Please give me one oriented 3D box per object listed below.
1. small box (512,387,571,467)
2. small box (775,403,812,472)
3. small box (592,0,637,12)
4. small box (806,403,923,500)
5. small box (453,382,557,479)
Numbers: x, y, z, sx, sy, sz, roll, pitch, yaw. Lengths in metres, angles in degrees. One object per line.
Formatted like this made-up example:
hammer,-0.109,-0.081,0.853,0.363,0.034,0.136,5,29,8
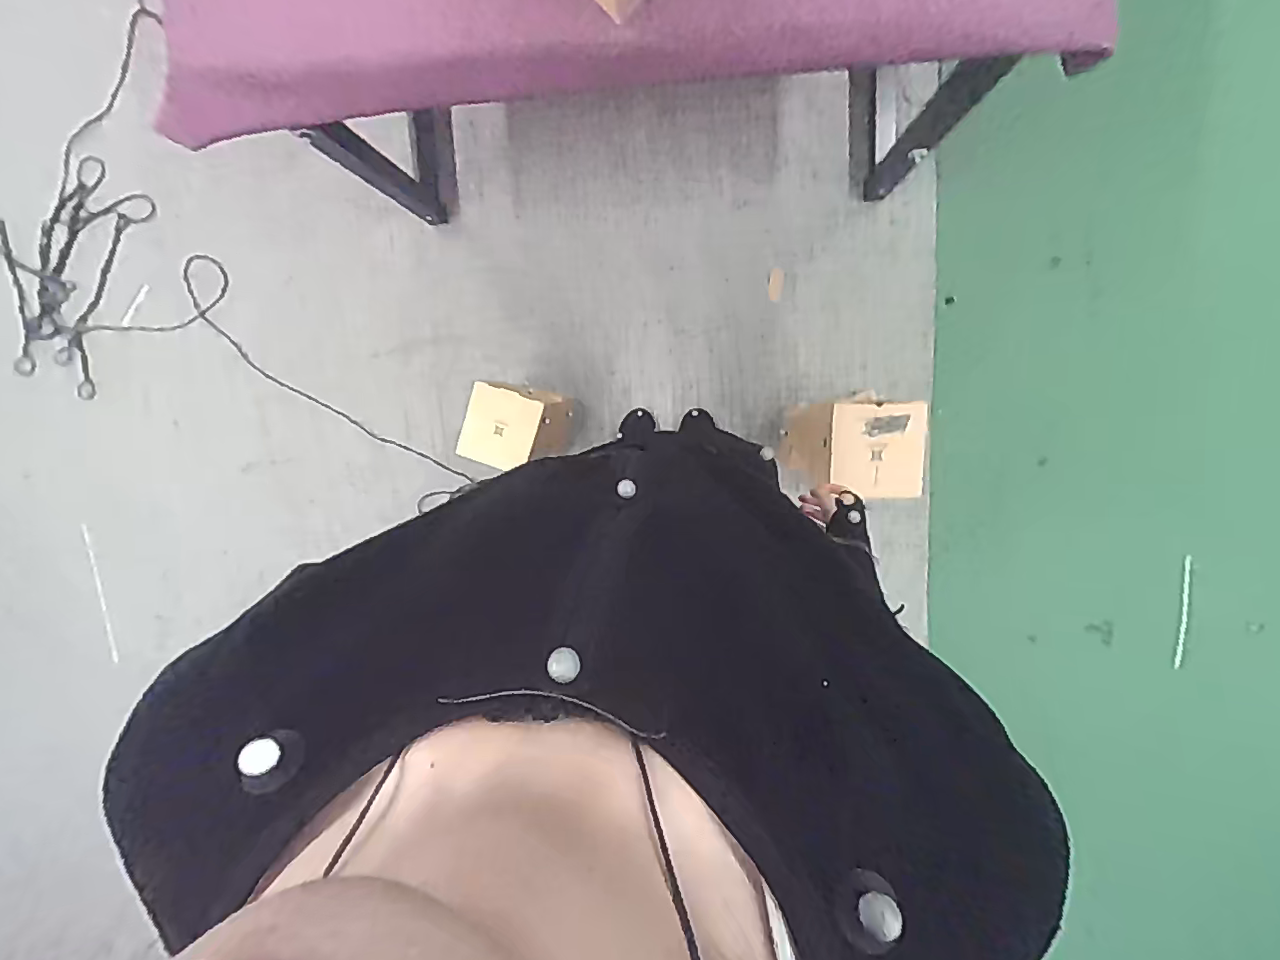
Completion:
small box,-0.288,-0.145,1.429,0.168,0.176,0.179,14,100,3
small box,0.452,-0.103,1.379,0.179,0.176,0.168,8,99,4
small box,-0.033,-0.678,0.593,0.168,0.176,0.179,-43,92,8
small box,0.427,-0.062,1.053,0.168,0.176,0.179,0,100,4
small box,-0.309,-0.120,1.271,0.168,0.176,0.179,19,99,2
